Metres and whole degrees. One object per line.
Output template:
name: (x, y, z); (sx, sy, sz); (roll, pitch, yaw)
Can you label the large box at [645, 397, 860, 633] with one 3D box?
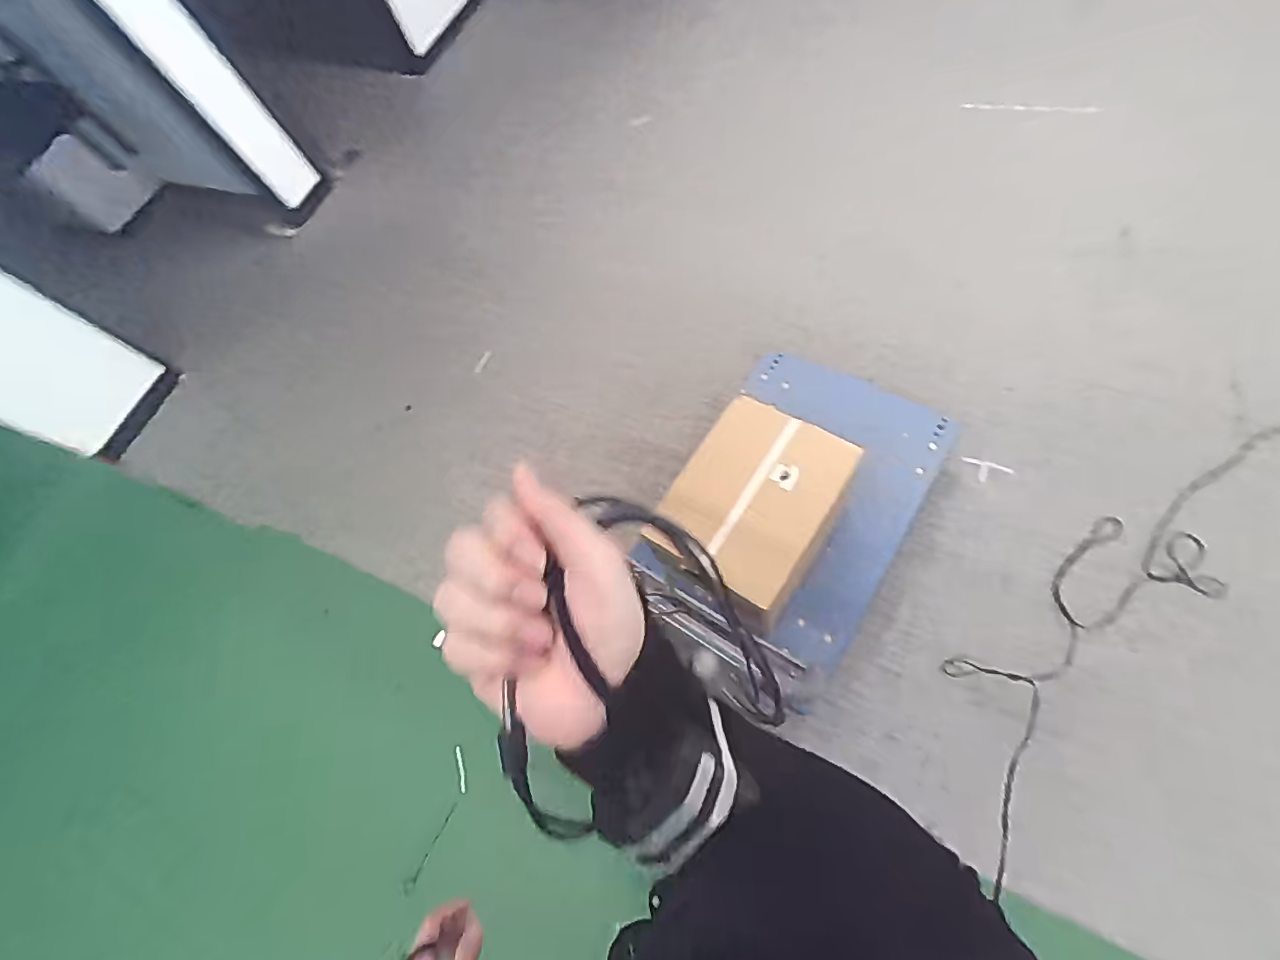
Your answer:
large box: (0.268, 0.090, 1.284); (0.320, 0.320, 0.408); (30, 75, 23)
